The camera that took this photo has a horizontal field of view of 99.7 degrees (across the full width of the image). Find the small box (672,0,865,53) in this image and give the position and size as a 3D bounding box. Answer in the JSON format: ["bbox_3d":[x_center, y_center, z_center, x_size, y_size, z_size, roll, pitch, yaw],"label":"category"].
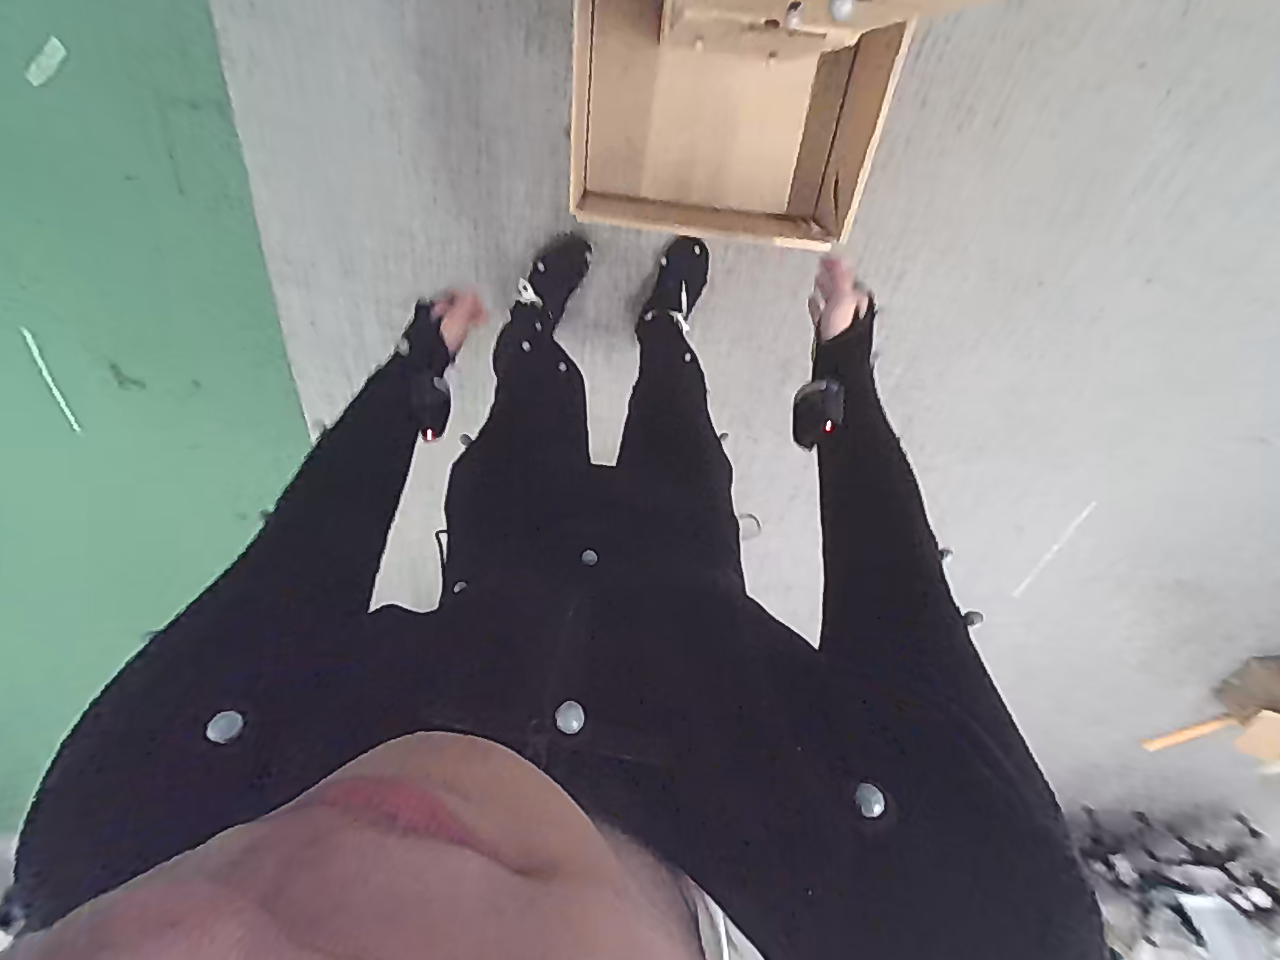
[{"bbox_3d":[0.125,-0.520,0.502,0.168,0.176,0.179,4,124,-5],"label":"small box"}]

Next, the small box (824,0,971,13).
[{"bbox_3d":[0.124,-0.333,0.230,0.168,0.176,0.179,4,125,-3],"label":"small box"}]

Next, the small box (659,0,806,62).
[{"bbox_3d":[0.119,-0.610,0.639,0.179,0.176,0.168,4,125,-5],"label":"small box"}]
